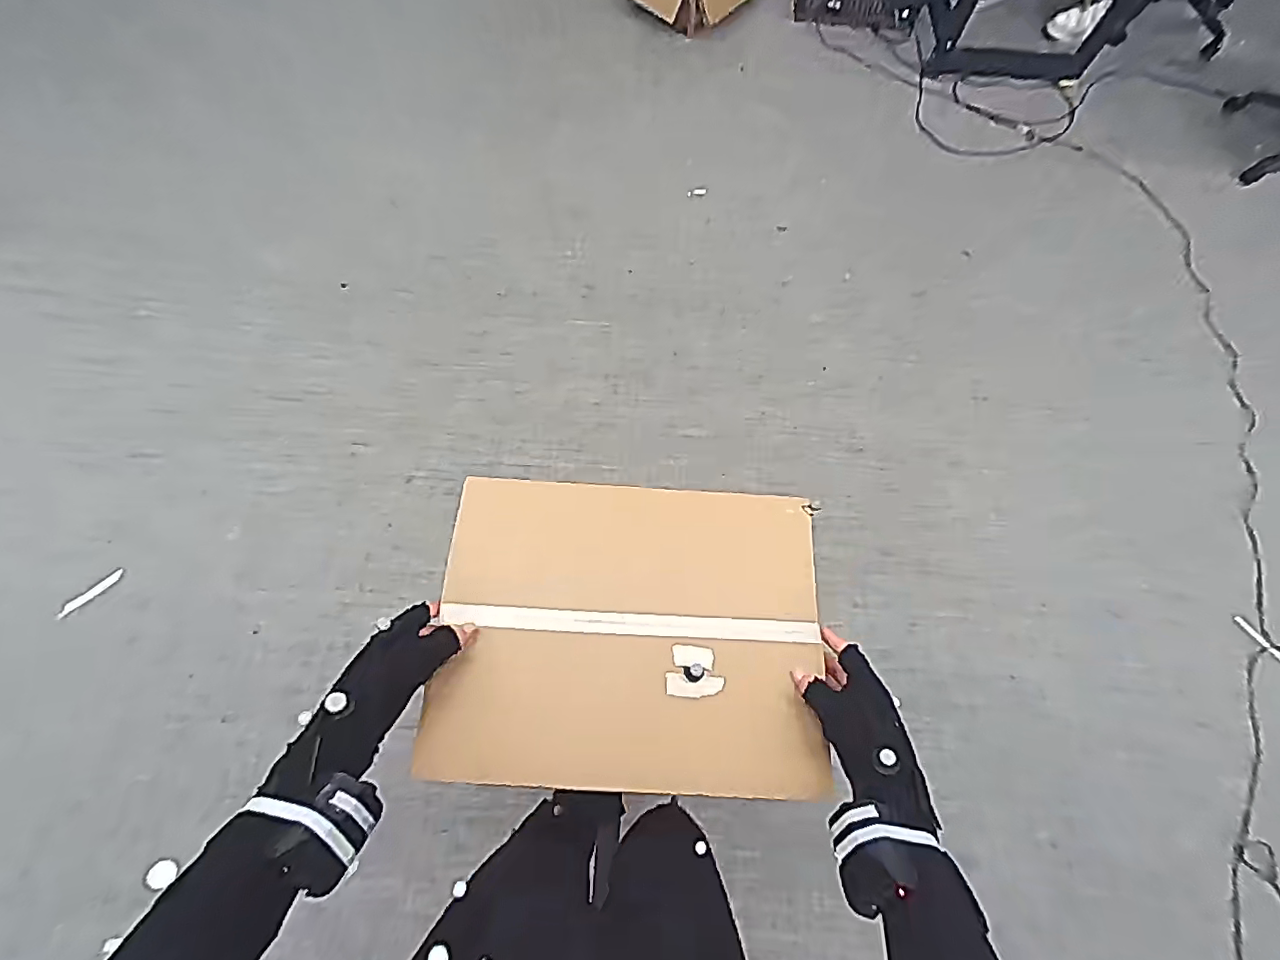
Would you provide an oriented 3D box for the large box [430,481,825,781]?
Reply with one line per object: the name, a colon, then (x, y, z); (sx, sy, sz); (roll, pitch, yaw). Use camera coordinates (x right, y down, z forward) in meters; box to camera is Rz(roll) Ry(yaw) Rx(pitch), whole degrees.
large box: (-0.015, 0.209, 0.729); (0.408, 0.320, 0.320); (4, 68, -2)
